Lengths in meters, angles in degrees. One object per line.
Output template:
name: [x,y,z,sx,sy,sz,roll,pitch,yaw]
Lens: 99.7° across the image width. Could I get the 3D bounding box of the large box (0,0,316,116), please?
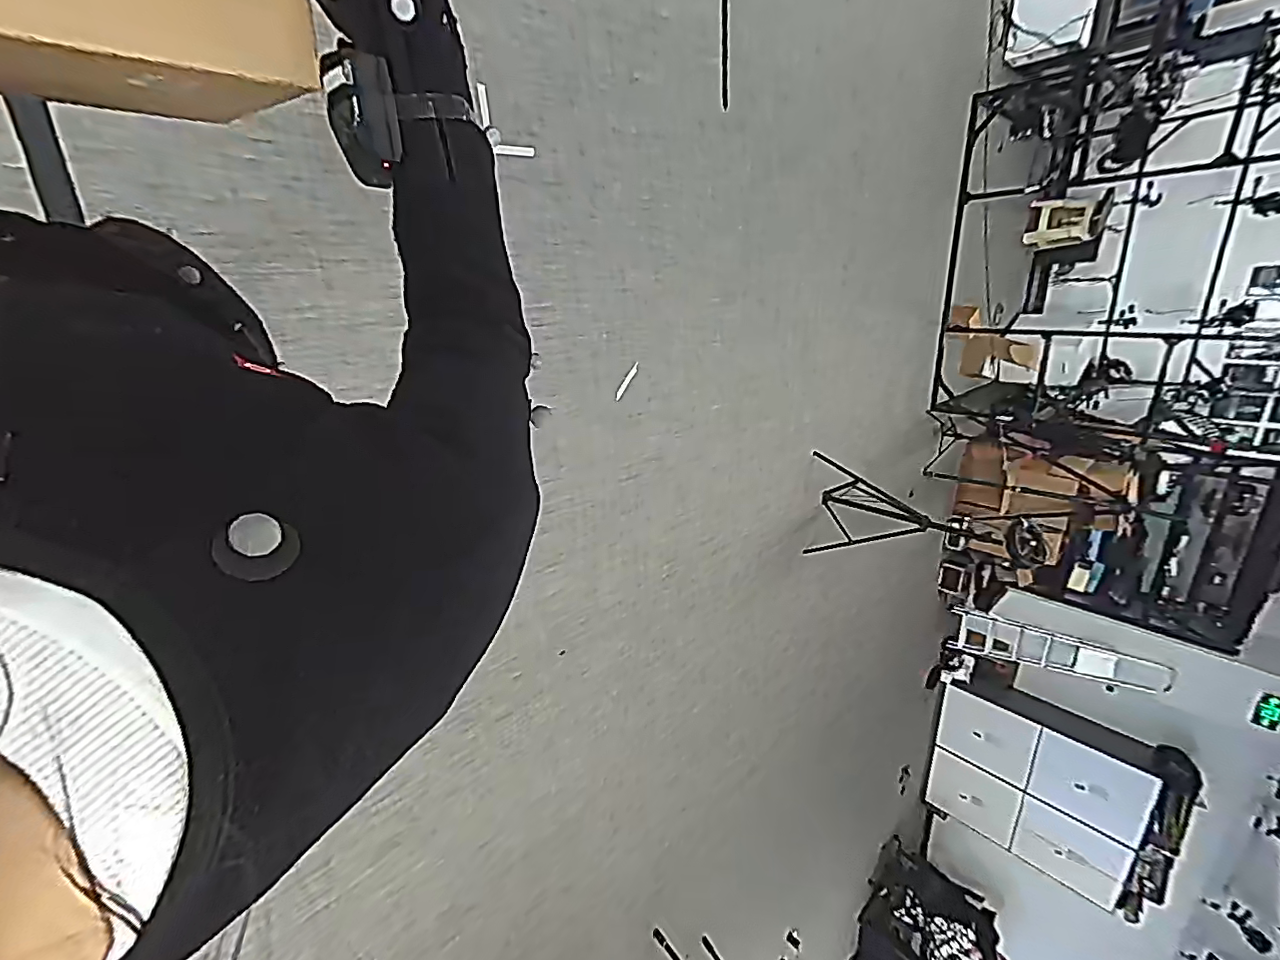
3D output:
large box: [-0.441,-0.382,0.242,0.408,0.320,0.320,-21,126,-39]
